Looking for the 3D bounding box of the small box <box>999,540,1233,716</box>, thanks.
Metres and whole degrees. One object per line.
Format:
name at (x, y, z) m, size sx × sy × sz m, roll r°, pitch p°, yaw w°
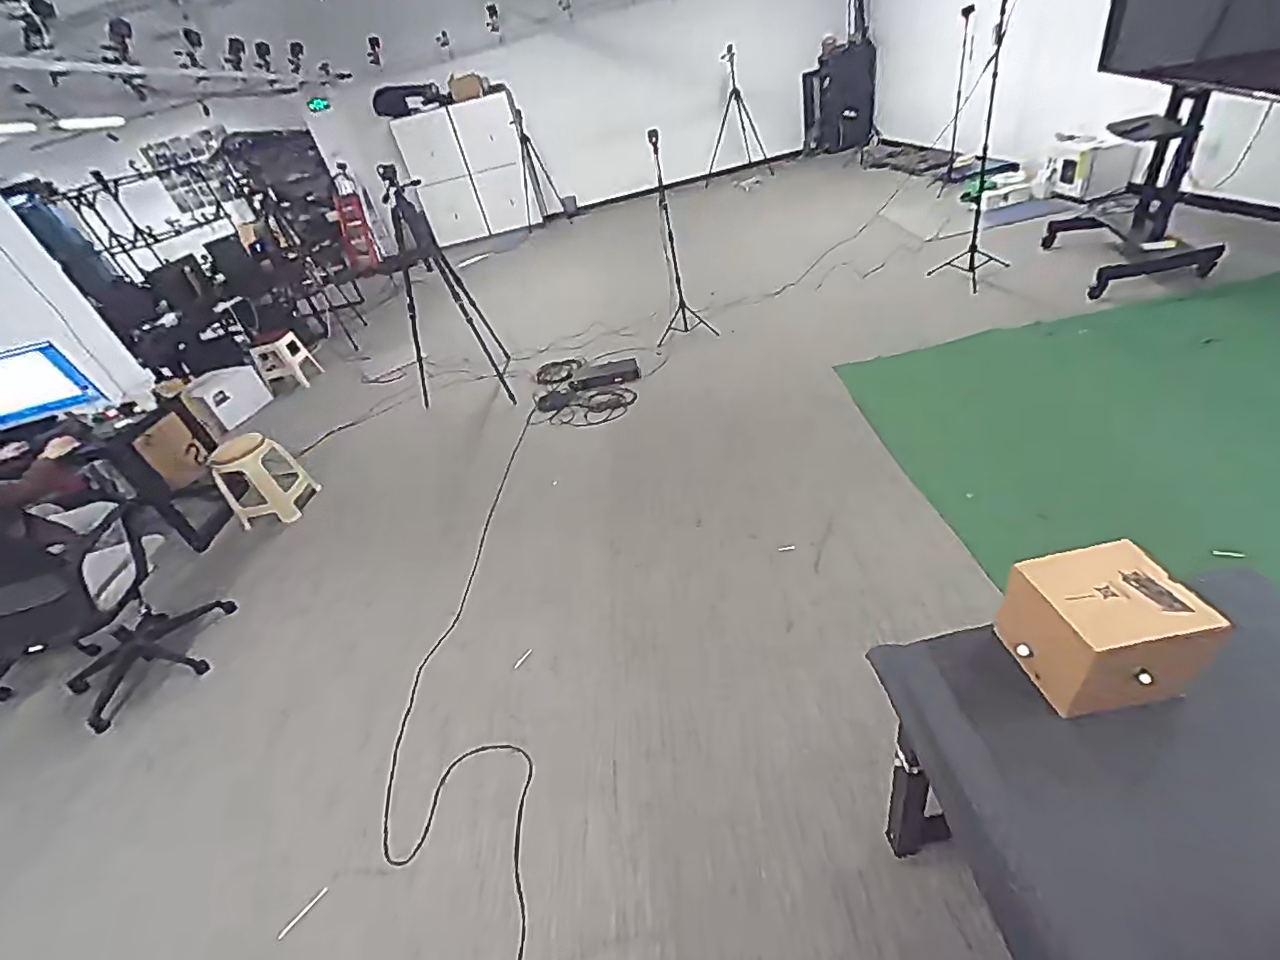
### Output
small box at (0.669, 0.217, 0.791) m, size 0.179 × 0.176 × 0.168 m, roll -12°, pitch 36°, yaw 3°
